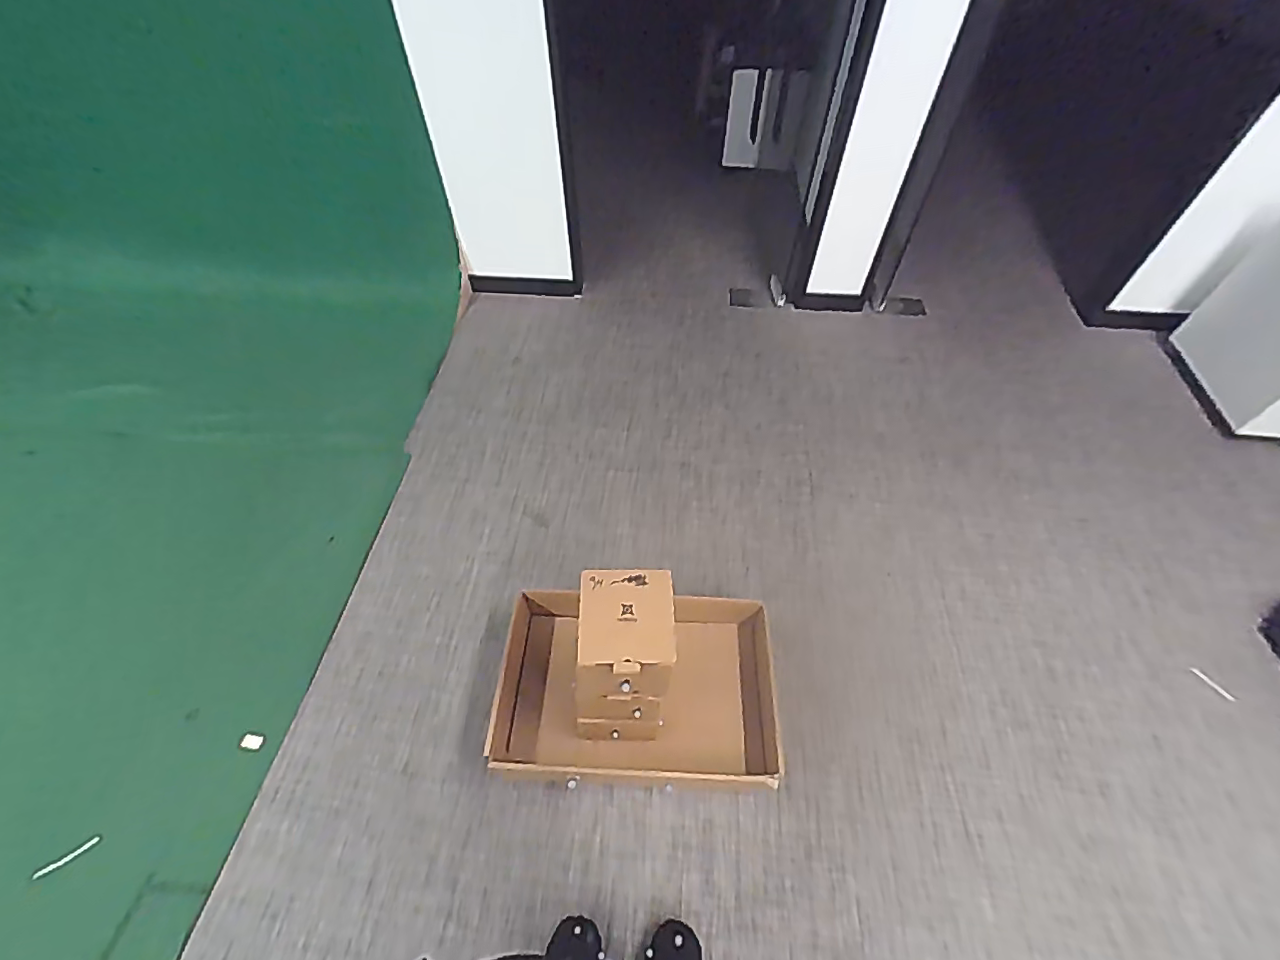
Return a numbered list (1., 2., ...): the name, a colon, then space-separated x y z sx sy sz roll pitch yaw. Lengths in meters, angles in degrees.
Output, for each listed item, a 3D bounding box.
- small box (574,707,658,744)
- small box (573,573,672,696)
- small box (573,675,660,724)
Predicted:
1. small box: -0.049 0.497 1.240 0.179 0.176 0.168 1 52 1
2. small box: -0.029 0.288 0.993 0.168 0.176 0.179 2 53 -2
3. small box: -0.042 0.392 1.119 0.168 0.176 0.179 4 51 -1
